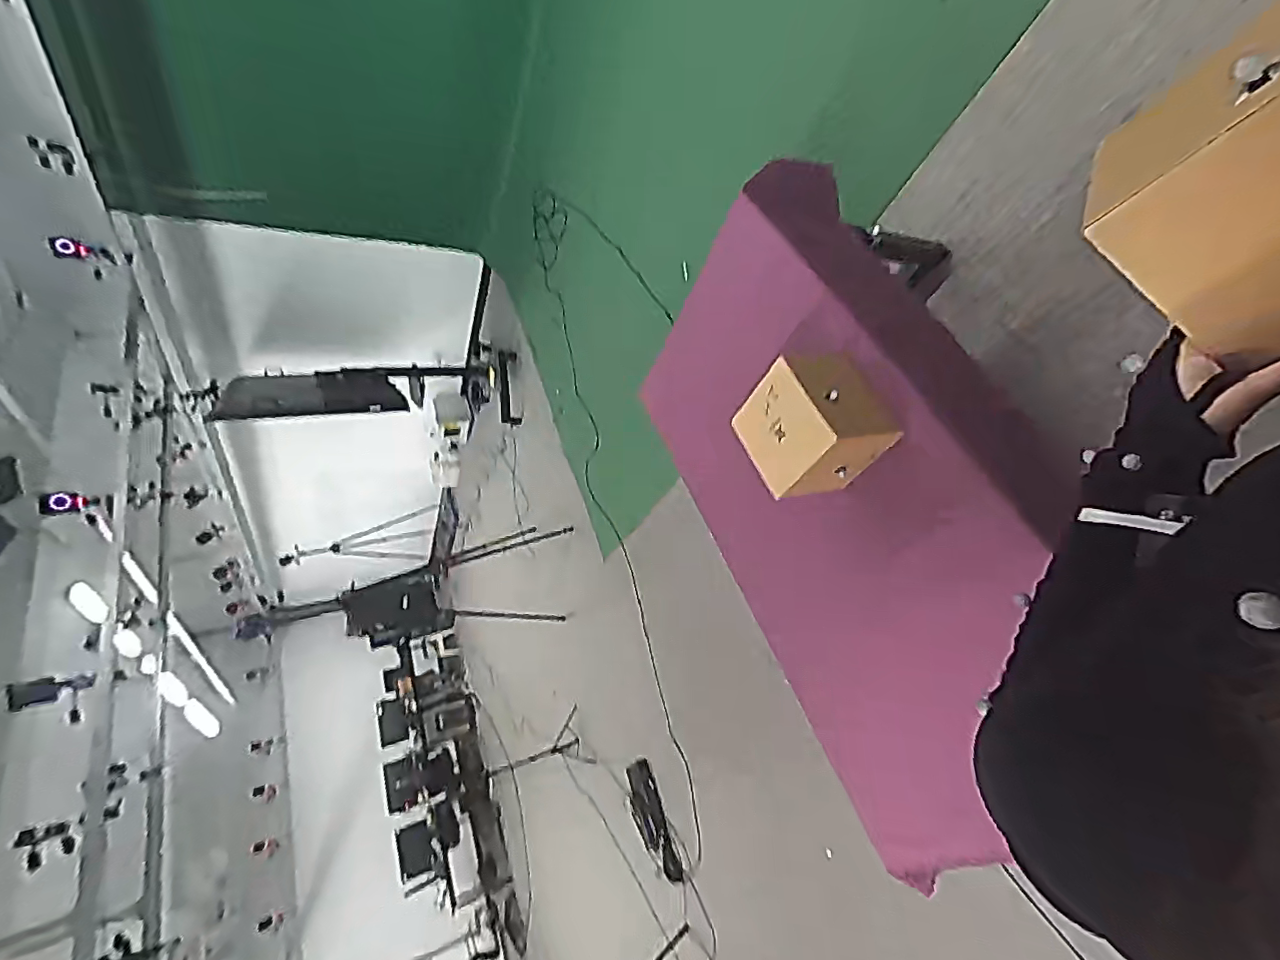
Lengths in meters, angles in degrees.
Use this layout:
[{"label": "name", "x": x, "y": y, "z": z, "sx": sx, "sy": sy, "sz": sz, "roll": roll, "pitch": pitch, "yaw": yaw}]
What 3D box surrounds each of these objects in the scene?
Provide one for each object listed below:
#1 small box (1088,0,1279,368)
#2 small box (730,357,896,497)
[{"label": "small box", "x": 0.446, "y": -0.214, "z": 0.353, "sx": 0.168, "sy": 0.176, "sz": 0.179, "roll": 41, "pitch": 147, "yaw": -6}, {"label": "small box", "x": 0.294, "y": -0.095, "z": 0.928, "sx": 0.168, "sy": 0.176, "sz": 0.179, "roll": -56, "pitch": 50, "yaw": 47}]
